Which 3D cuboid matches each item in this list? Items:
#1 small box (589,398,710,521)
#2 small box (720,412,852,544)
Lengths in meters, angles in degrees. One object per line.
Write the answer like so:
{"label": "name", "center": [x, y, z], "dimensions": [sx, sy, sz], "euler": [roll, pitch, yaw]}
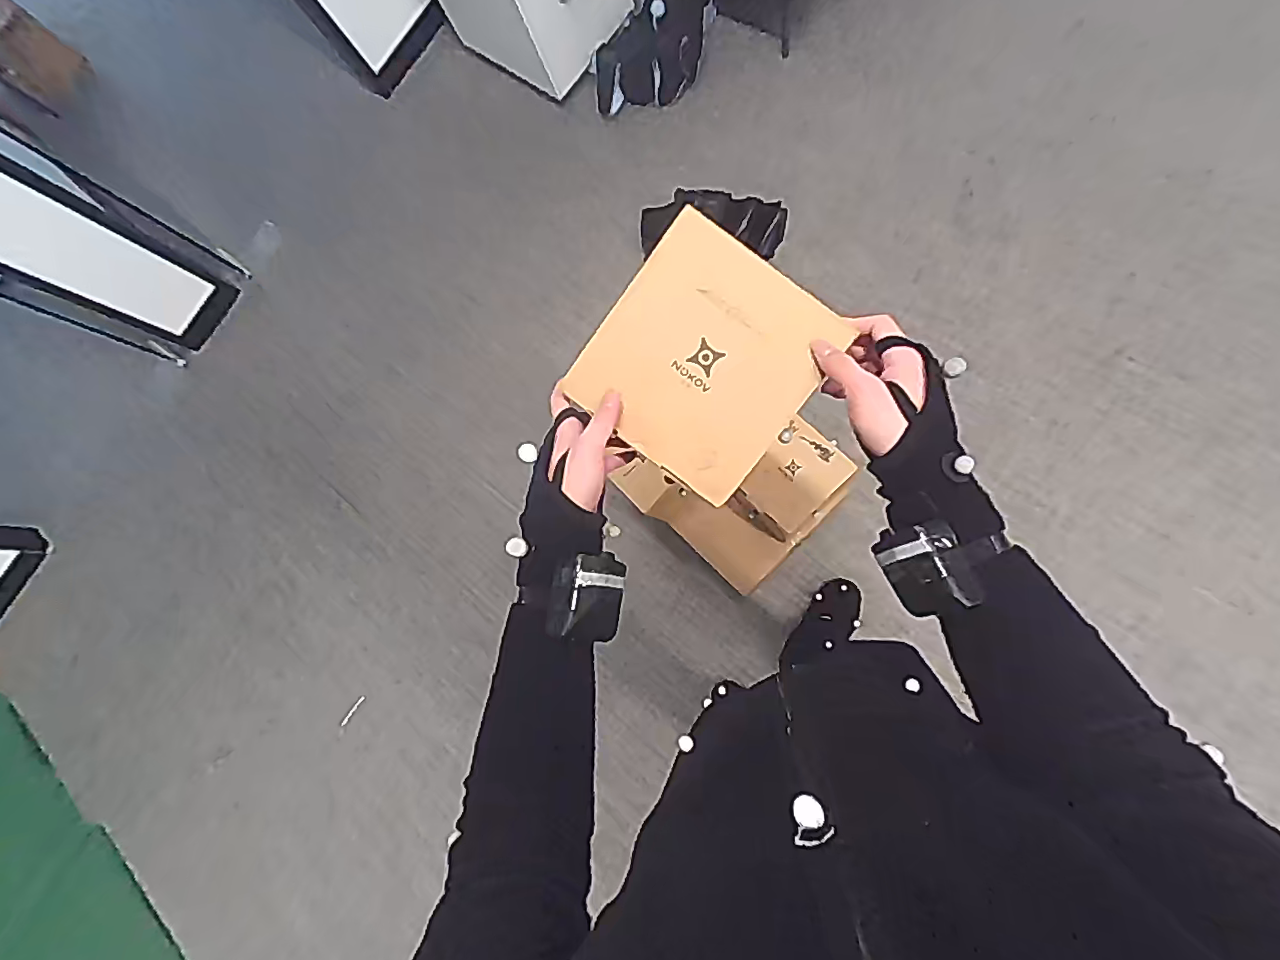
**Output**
{"label": "small box", "center": [0.029, -0.035, 1.115], "dimensions": [0.179, 0.176, 0.168], "euler": [-45, 72, 4]}
{"label": "small box", "center": [0.280, 0.006, 1.046], "dimensions": [0.179, 0.176, 0.168], "euler": [-44, 72, 0]}
